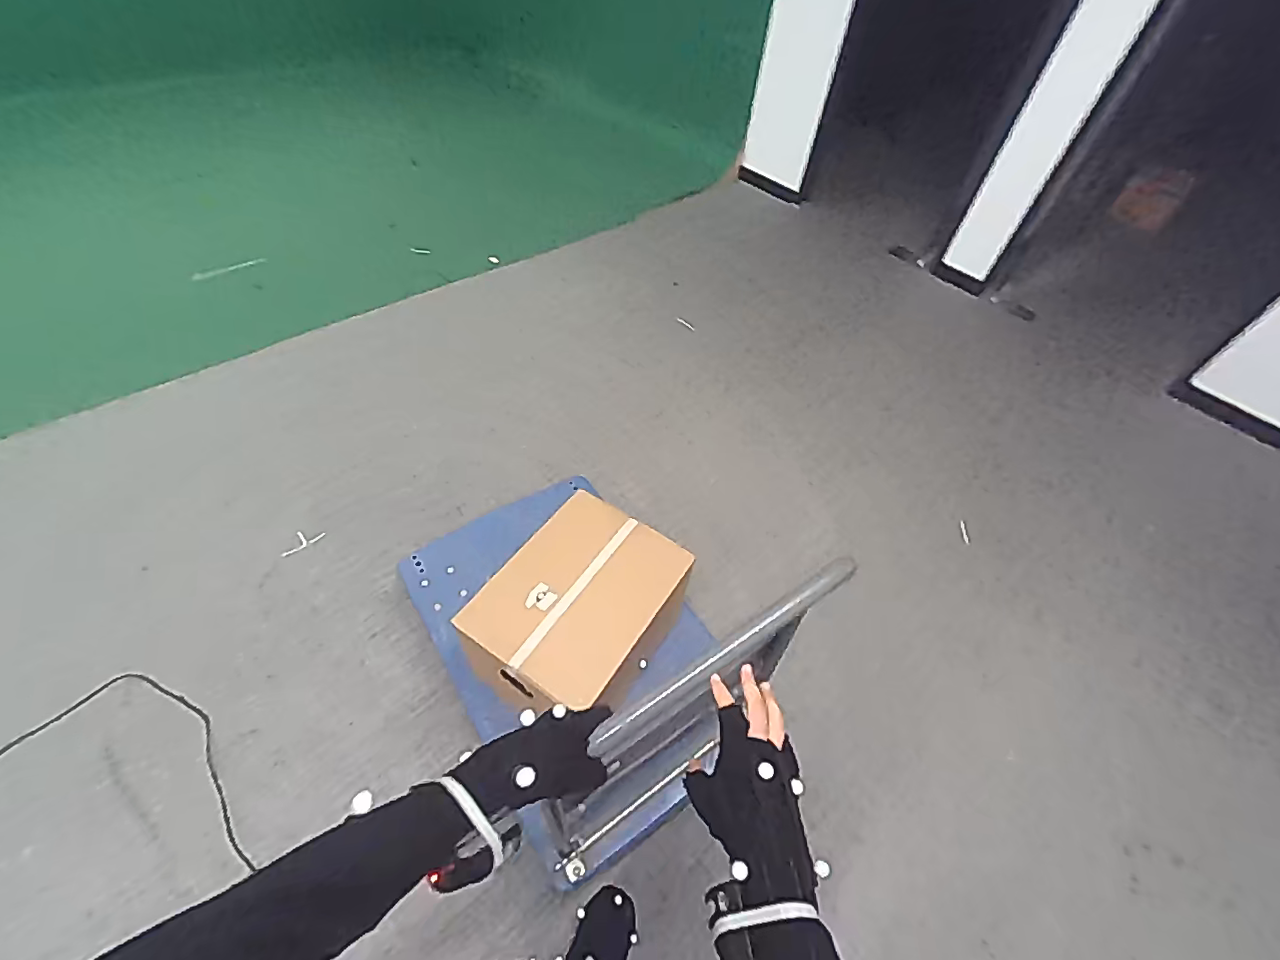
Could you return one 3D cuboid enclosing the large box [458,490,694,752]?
[{"bbox_3d":[-0.126,0.308,1.203,0.320,0.320,0.408,30,55,18],"label":"large box"}]
